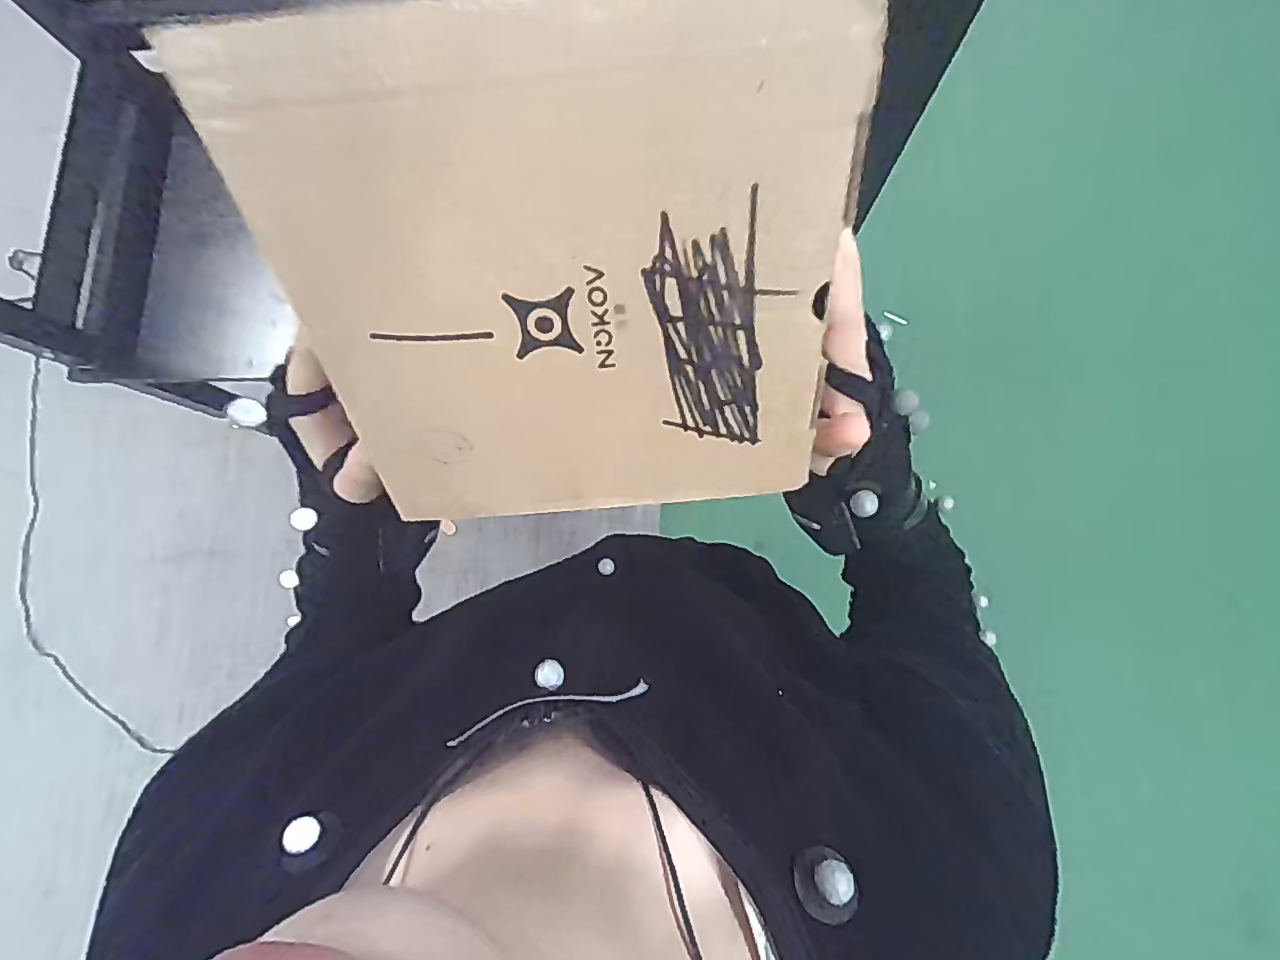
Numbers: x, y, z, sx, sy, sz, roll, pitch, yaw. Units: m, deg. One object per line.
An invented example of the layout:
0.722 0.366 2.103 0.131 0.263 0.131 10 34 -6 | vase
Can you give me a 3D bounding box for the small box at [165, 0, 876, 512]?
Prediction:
-0.027 -0.105 0.239 0.179 0.168 0.176 -3 39 2 | small box
